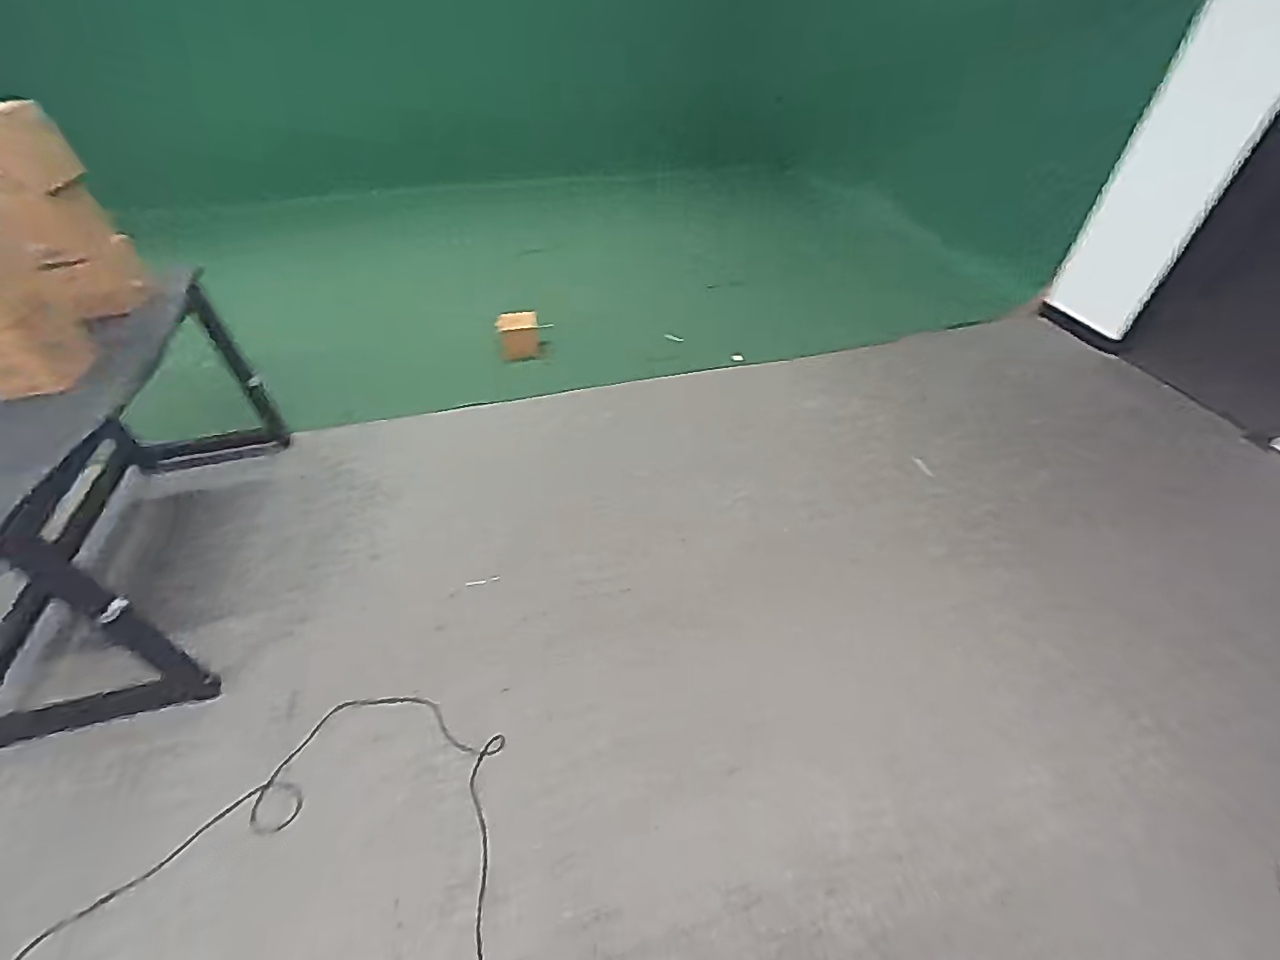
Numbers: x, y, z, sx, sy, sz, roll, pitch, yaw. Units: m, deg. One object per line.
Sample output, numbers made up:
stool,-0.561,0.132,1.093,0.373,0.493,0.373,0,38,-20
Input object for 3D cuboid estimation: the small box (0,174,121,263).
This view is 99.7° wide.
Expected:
small box,-1.585,-0.716,1.476,0.168,0.176,0.179,-14,48,-9

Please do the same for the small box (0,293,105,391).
small box,-1.485,-0.332,1.322,0.168,0.176,0.179,-10,46,-8

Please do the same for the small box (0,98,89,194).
small box,-1.574,-0.845,1.370,0.168,0.176,0.179,-11,46,-5

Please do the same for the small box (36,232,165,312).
small box,-1.582,-0.610,1.599,0.179,0.176,0.168,-7,46,-5

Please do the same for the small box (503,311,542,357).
small box,-0.602,-0.749,2.777,0.179,0.176,0.168,-7,46,-7
